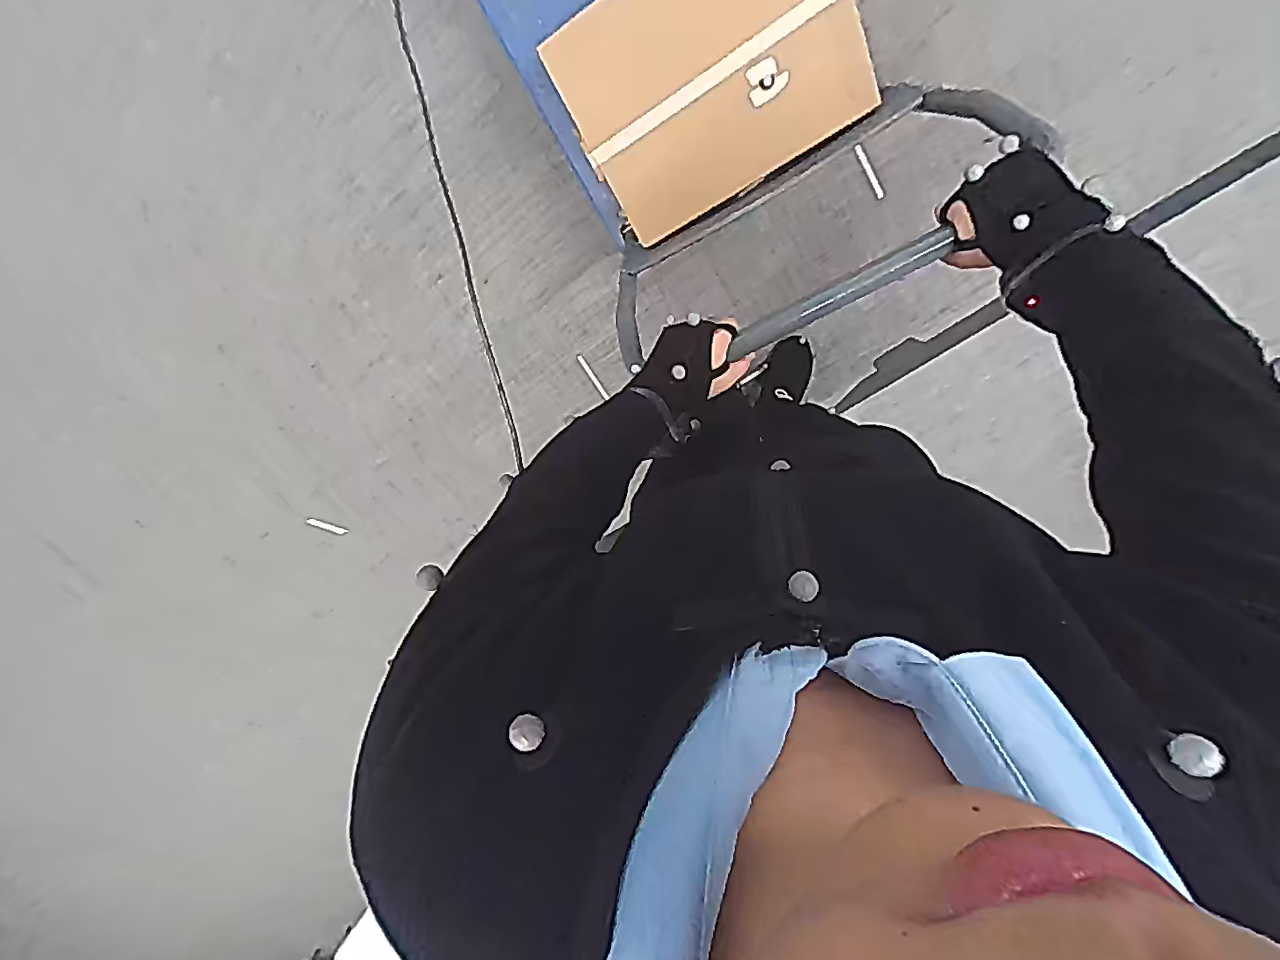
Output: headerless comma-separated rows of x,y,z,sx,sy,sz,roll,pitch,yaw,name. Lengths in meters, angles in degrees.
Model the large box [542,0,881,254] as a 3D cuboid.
0.108,-0.645,0.898,0.408,0.320,0.320,-26,119,18,large box
